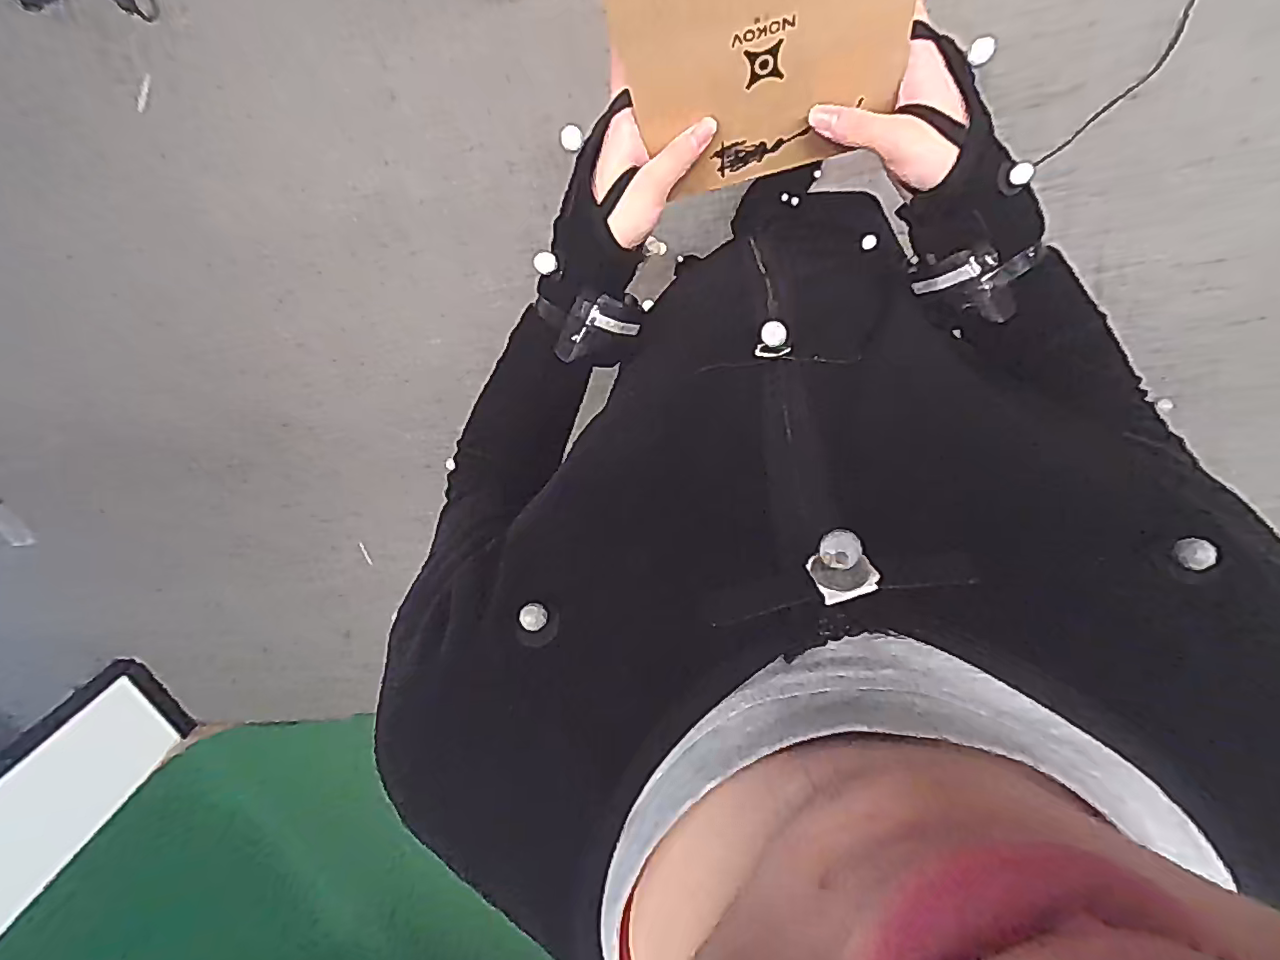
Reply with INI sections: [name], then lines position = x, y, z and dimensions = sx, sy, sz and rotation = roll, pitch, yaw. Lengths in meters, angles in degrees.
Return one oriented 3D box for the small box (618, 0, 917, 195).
[small box]
position = 0.069, -0.332, 0.345
dimensions = 0.168, 0.176, 0.179
rotation = -9, 158, 11
